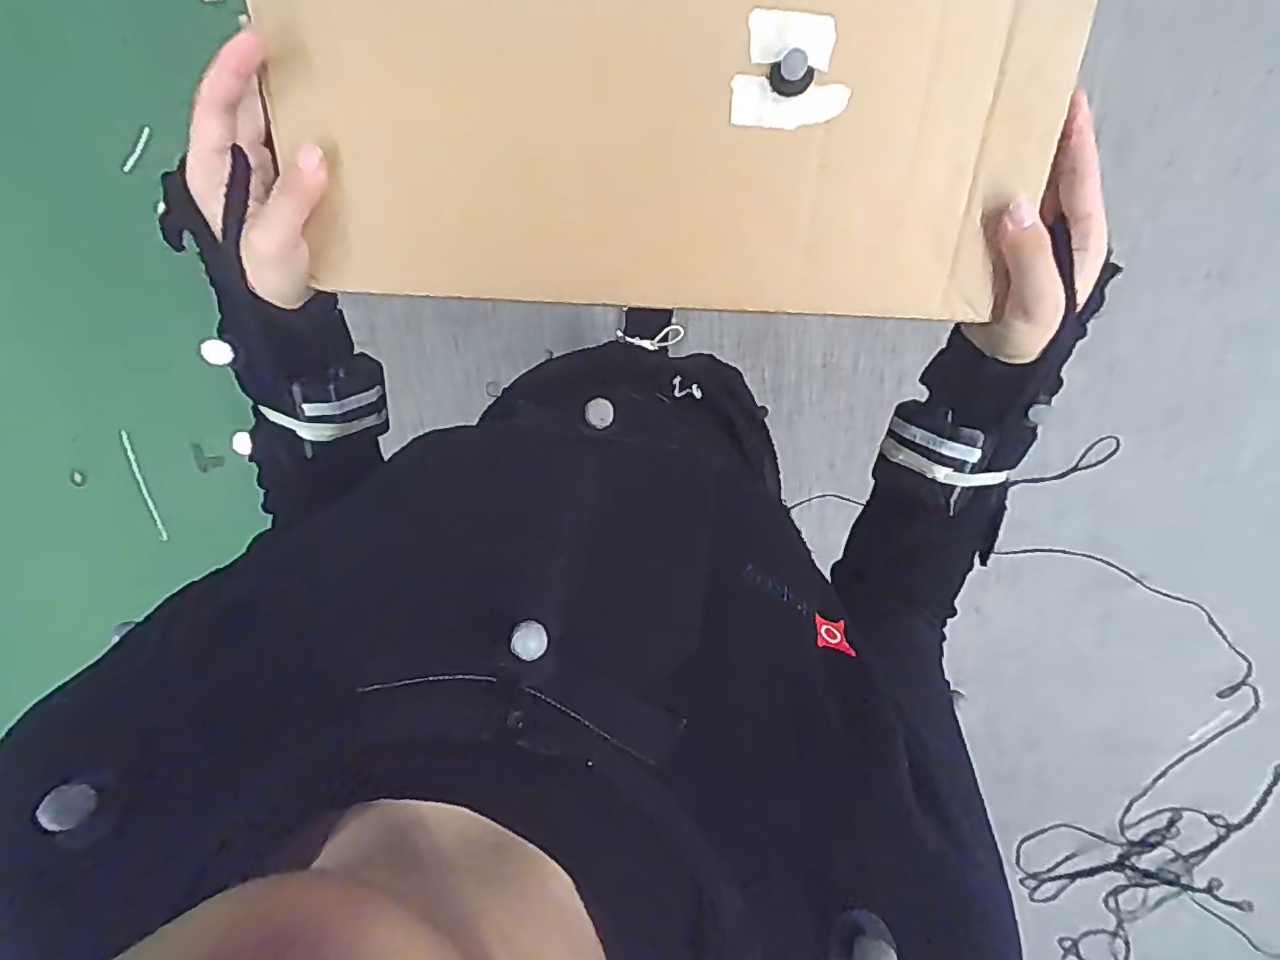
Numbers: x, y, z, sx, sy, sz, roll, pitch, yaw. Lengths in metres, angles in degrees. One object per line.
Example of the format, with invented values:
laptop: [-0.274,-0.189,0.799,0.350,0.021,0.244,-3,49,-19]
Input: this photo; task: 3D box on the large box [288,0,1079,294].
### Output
large box: [0.022,-0.310,0.406,0.408,0.320,0.320,3,111,1]
